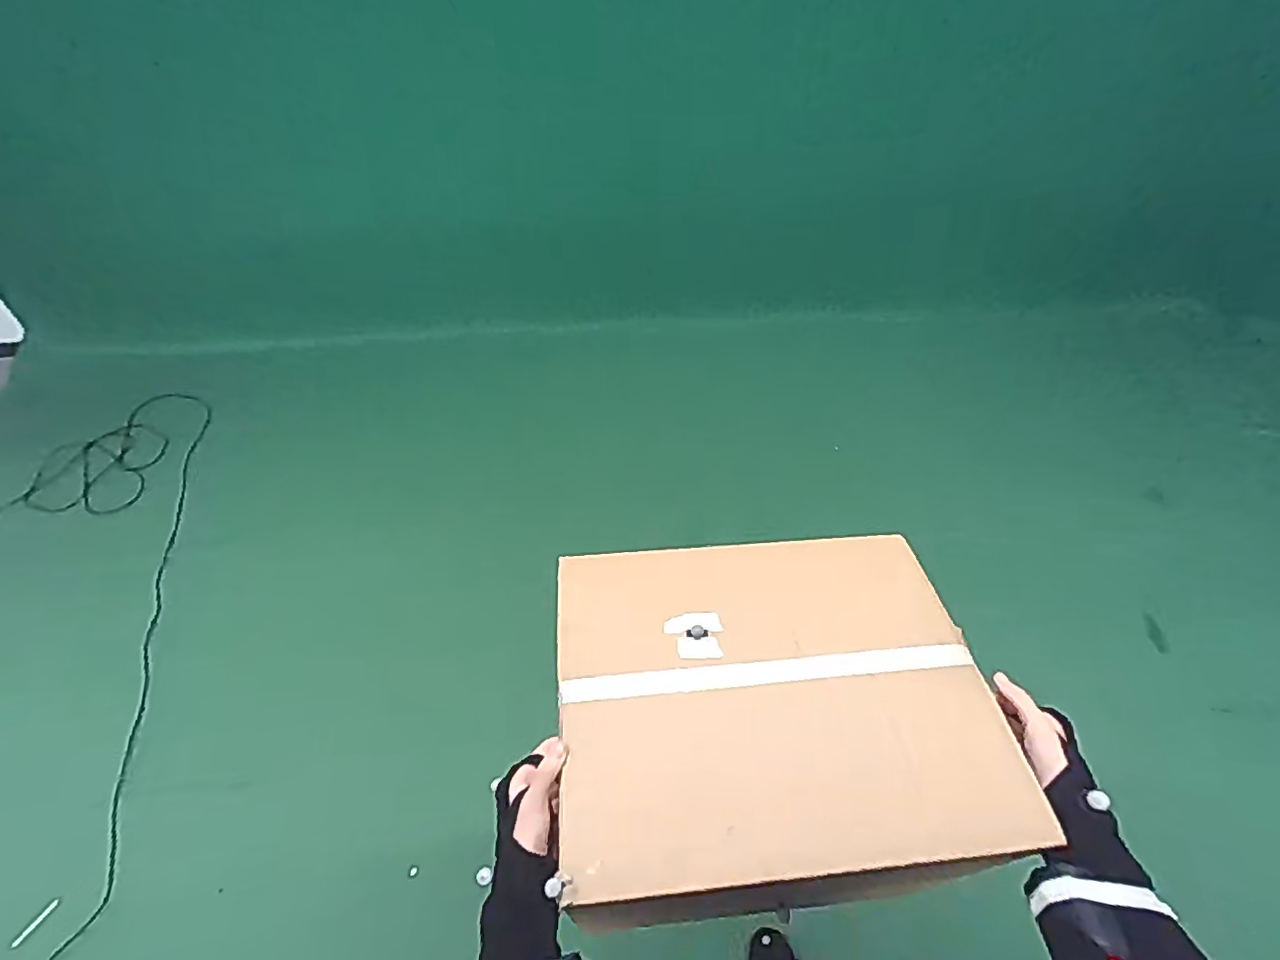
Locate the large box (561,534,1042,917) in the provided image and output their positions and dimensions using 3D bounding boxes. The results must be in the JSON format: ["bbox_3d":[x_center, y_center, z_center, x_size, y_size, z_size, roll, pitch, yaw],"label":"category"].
[{"bbox_3d":[0.125,0.291,0.641,0.408,0.320,0.320,-4,48,-4],"label":"large box"}]
